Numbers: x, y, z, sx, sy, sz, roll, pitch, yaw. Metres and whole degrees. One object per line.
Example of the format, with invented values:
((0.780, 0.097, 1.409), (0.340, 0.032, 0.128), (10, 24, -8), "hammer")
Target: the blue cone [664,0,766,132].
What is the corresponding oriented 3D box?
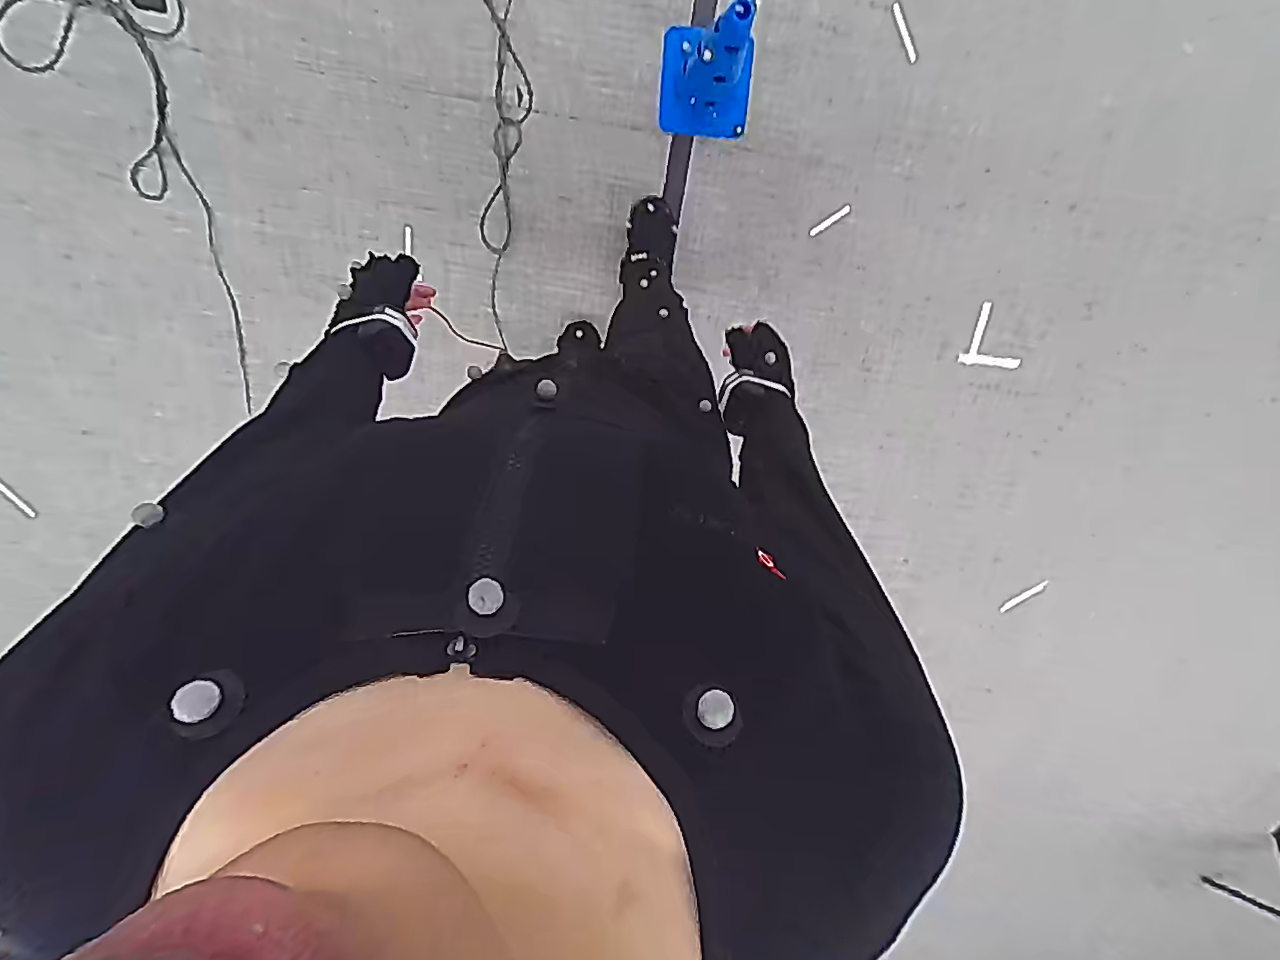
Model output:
((0.163, -0.829, 1.044), (0.192, 0.380, 0.193), (4, 110, -6), "blue cone")
